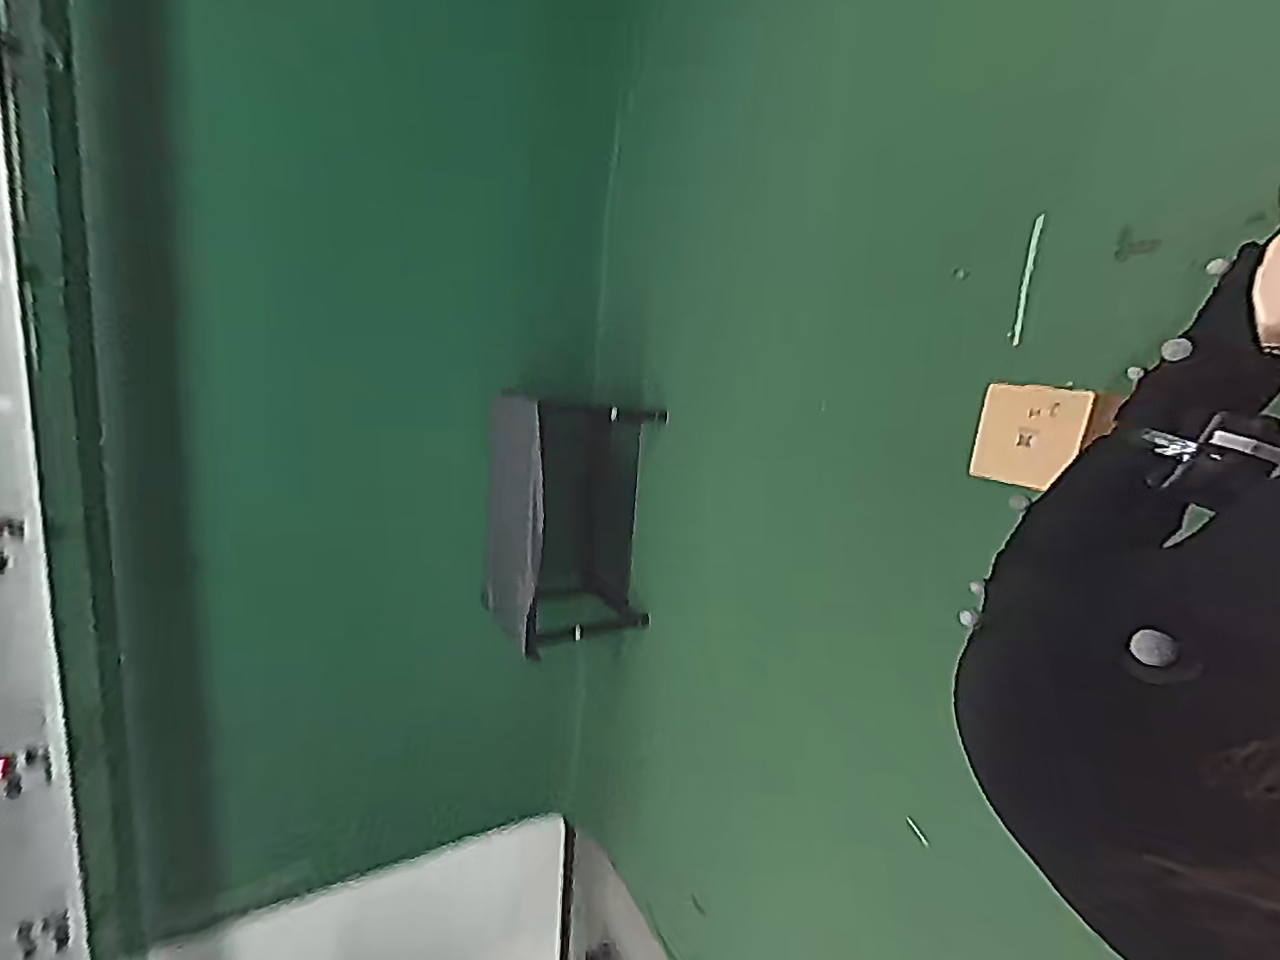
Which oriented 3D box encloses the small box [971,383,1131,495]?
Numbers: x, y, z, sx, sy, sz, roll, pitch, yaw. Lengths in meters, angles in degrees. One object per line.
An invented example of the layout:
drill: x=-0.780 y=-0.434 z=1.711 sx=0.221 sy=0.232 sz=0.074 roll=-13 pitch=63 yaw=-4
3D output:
small box: x=0.751 y=-0.080 z=0.990 sx=0.168 sy=0.176 sz=0.179 roll=25 pitch=113 yaw=56

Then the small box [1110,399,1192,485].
small box: x=1.032 y=-0.090 z=1.162 sx=0.179 sy=0.176 sz=0.168 roll=21 pitch=110 yaw=58
